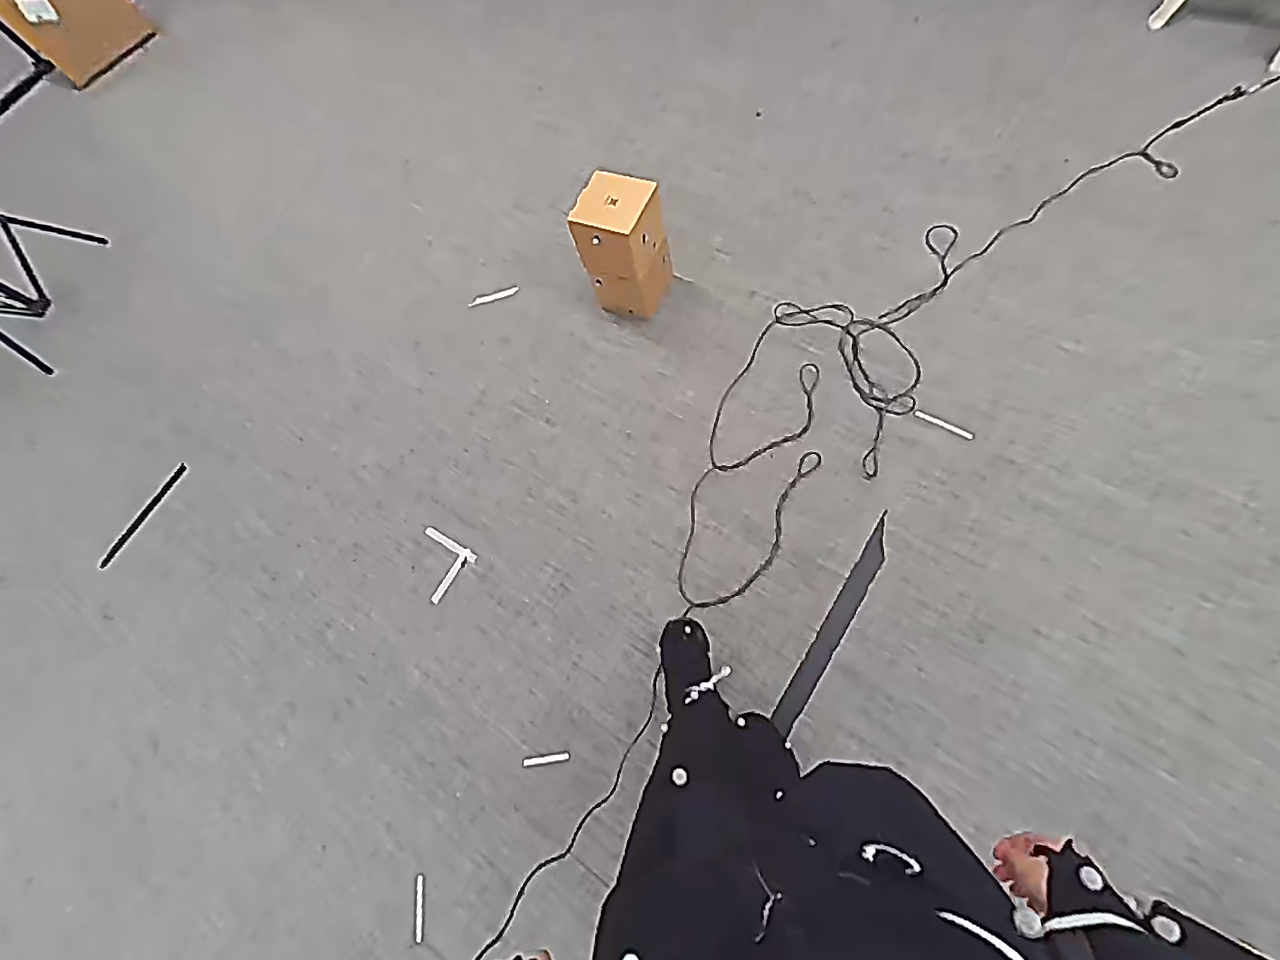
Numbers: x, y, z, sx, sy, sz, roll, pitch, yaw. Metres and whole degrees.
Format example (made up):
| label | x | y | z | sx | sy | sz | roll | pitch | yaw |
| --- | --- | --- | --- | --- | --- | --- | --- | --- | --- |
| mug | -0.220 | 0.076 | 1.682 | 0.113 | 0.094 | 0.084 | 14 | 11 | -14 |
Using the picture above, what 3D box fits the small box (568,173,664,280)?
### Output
| label | x | y | z | sx | sy | sz | roll | pitch | yaw |
| --- | --- | --- | --- | --- | --- | --- | --- | --- | --- |
| small box | -0.052 | -0.637 | 1.373 | 0.179 | 0.176 | 0.168 | 21 | 75 | 18 |
